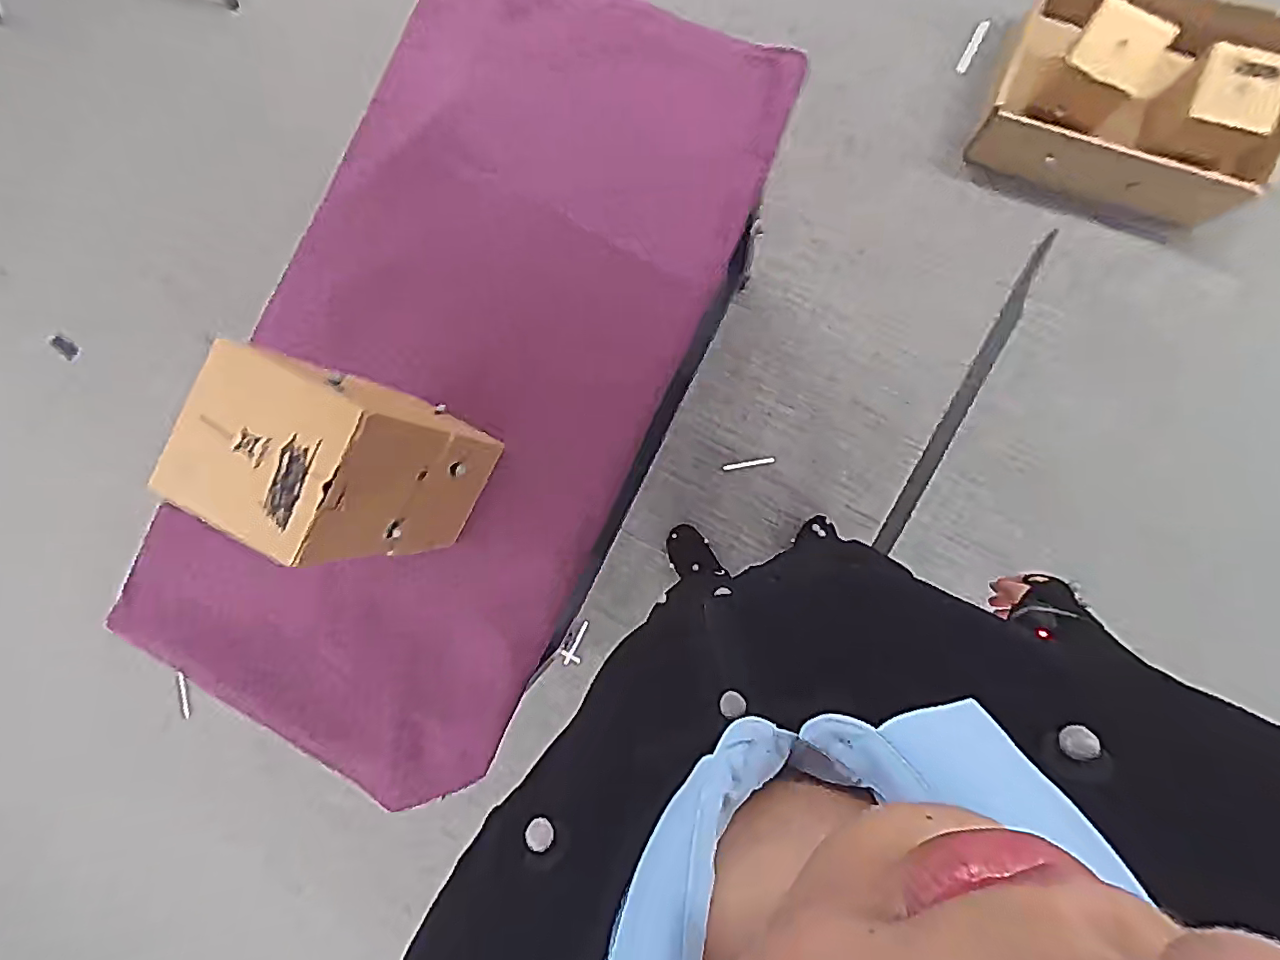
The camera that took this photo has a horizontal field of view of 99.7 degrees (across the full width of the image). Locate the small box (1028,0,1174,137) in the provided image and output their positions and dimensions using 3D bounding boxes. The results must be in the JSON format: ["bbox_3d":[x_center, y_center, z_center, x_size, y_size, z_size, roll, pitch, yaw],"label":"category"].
[{"bbox_3d":[1.080,-0.975,1.287,0.168,0.176,0.179,33,92,5],"label":"small box"}]

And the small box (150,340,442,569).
[{"bbox_3d":[-0.350,-0.024,0.587,0.179,0.176,0.168,26,91,8],"label":"small box"}]

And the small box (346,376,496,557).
[{"bbox_3d":[-0.323,-0.015,0.749,0.168,0.176,0.179,28,92,8],"label":"small box"}]
